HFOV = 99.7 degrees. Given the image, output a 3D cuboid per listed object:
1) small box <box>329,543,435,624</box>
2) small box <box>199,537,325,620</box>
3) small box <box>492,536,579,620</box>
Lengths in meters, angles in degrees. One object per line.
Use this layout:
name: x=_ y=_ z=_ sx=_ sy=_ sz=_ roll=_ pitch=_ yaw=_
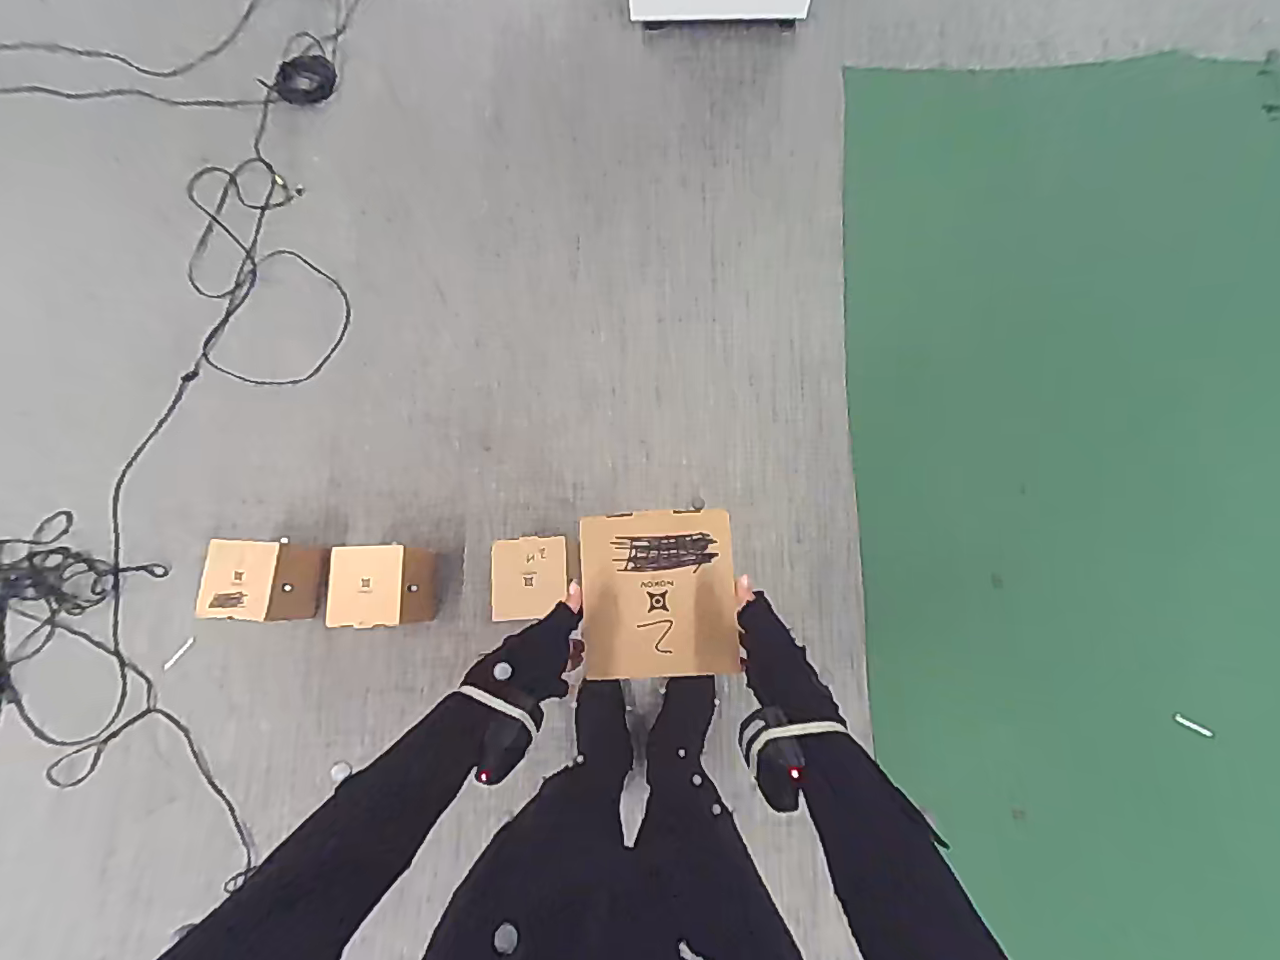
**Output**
small box: x=-0.594 y=0.243 z=1.266 sx=0.168 sy=0.176 sz=0.179 roll=-2 pitch=79 yaw=3
small box: x=-0.884 y=0.234 z=1.282 sx=0.168 sy=0.176 sz=0.179 roll=3 pitch=78 yaw=4
small box: x=-0.235 y=0.225 z=1.250 sx=0.168 sy=0.176 sz=0.179 roll=-4 pitch=79 yaw=1
